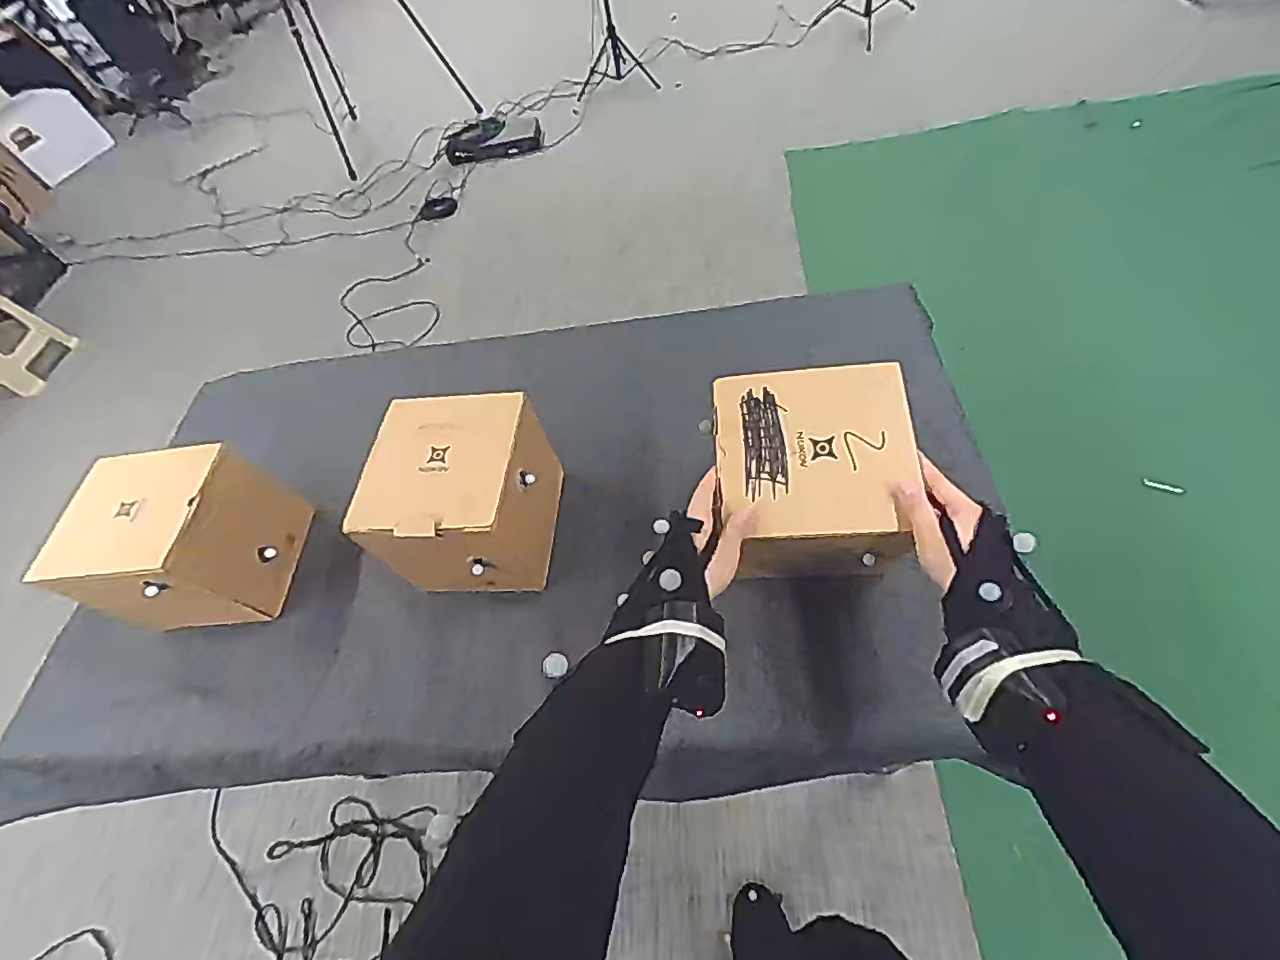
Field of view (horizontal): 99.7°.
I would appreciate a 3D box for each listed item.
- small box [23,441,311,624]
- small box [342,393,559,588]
[{"bbox_3d":[-0.566,0.074,0.678,0.179,0.176,0.168,-6,57,6],"label":"small box"},{"bbox_3d":[-0.204,0.020,0.641,0.168,0.176,0.179,-1,57,9],"label":"small box"}]
